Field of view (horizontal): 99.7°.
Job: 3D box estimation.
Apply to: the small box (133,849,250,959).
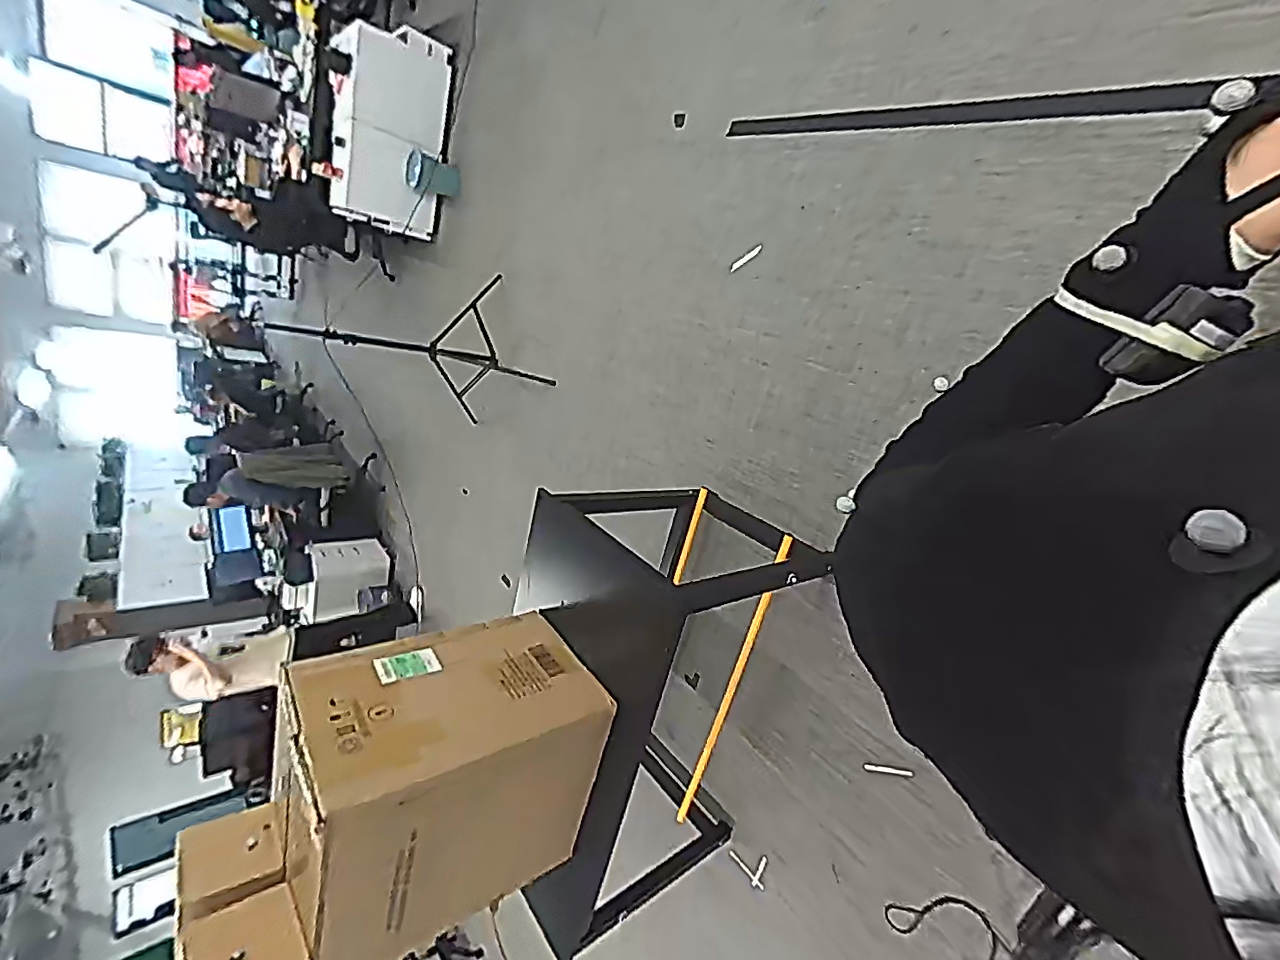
[{"bbox_3d":[-0.877,0.886,1.064,0.168,0.176,0.179,34,115,44],"label":"small box"}]
